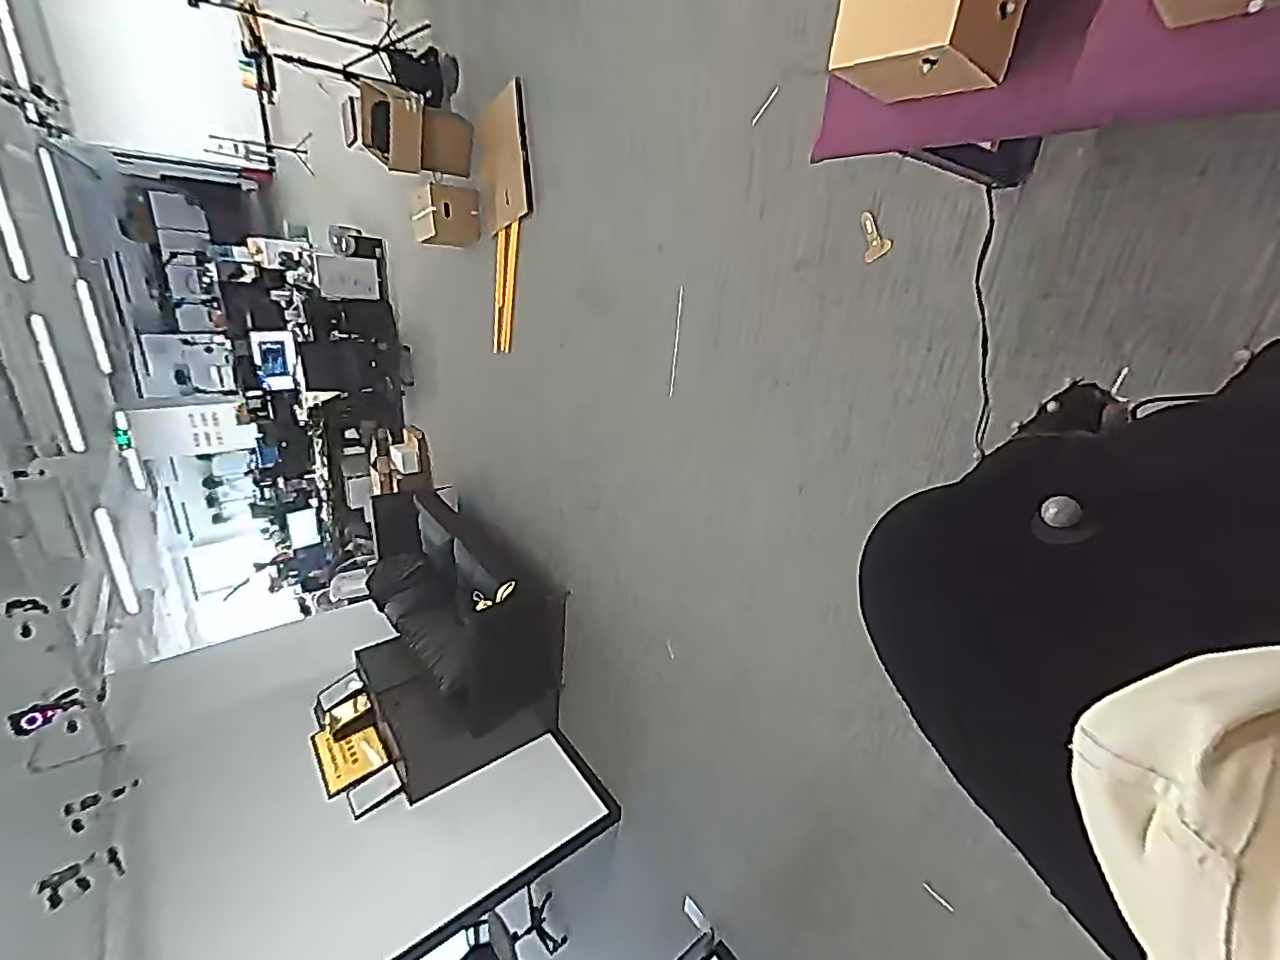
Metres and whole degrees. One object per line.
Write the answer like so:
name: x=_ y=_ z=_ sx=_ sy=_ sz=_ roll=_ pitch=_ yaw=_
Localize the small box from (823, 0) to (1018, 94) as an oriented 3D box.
small box: x=0.385 y=-0.649 z=0.731 sx=0.179 sy=0.176 sz=0.168 roll=29 pitch=121 yaw=44
